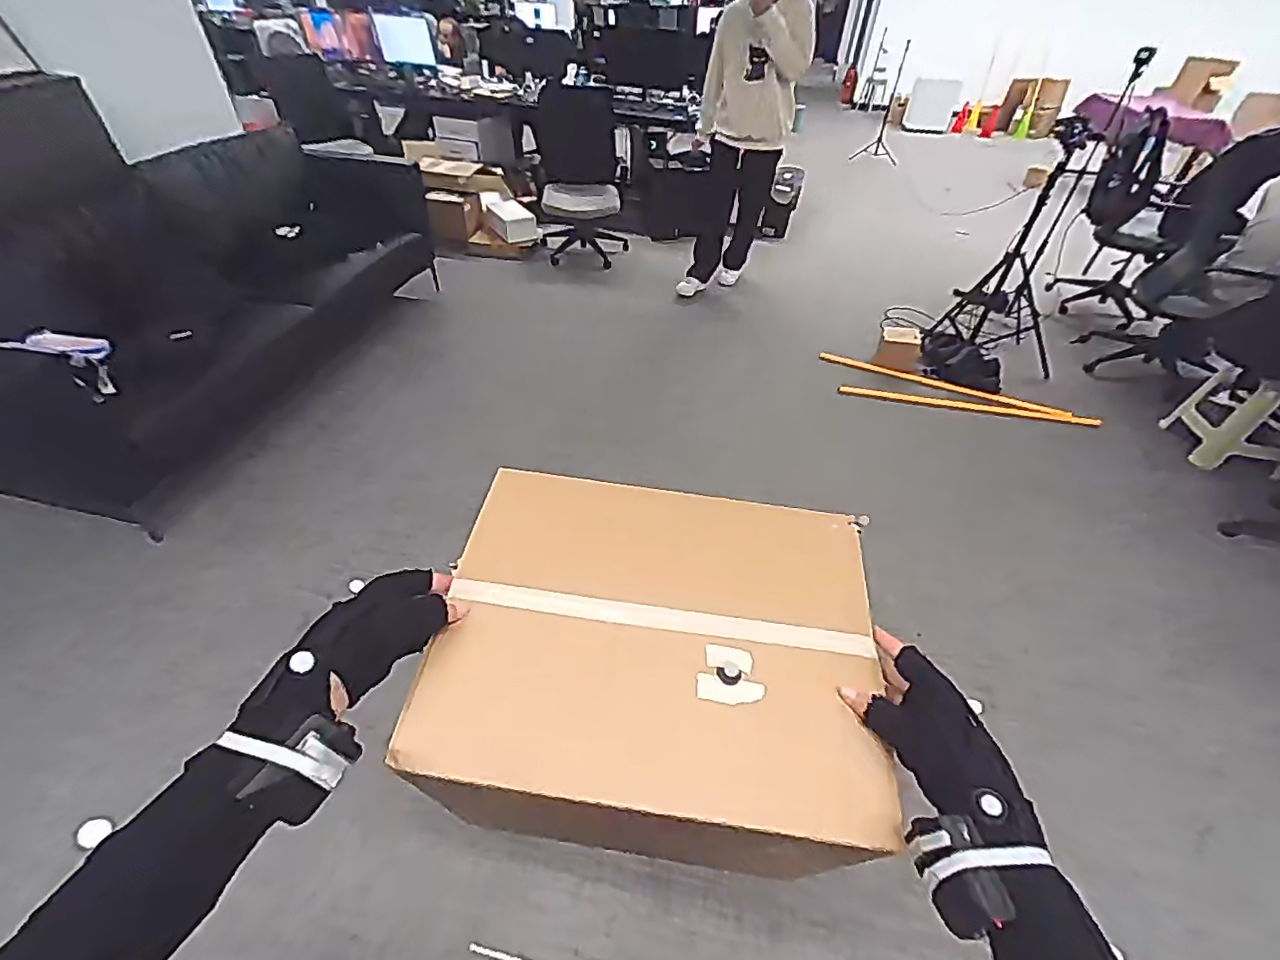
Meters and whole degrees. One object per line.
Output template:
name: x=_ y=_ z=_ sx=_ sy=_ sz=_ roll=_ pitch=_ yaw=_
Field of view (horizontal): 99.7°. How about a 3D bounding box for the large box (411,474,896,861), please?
large box: x=0.015 y=0.227 z=0.640 sx=0.408 sy=0.320 sz=0.320 roll=8 pitch=51 yaw=2
